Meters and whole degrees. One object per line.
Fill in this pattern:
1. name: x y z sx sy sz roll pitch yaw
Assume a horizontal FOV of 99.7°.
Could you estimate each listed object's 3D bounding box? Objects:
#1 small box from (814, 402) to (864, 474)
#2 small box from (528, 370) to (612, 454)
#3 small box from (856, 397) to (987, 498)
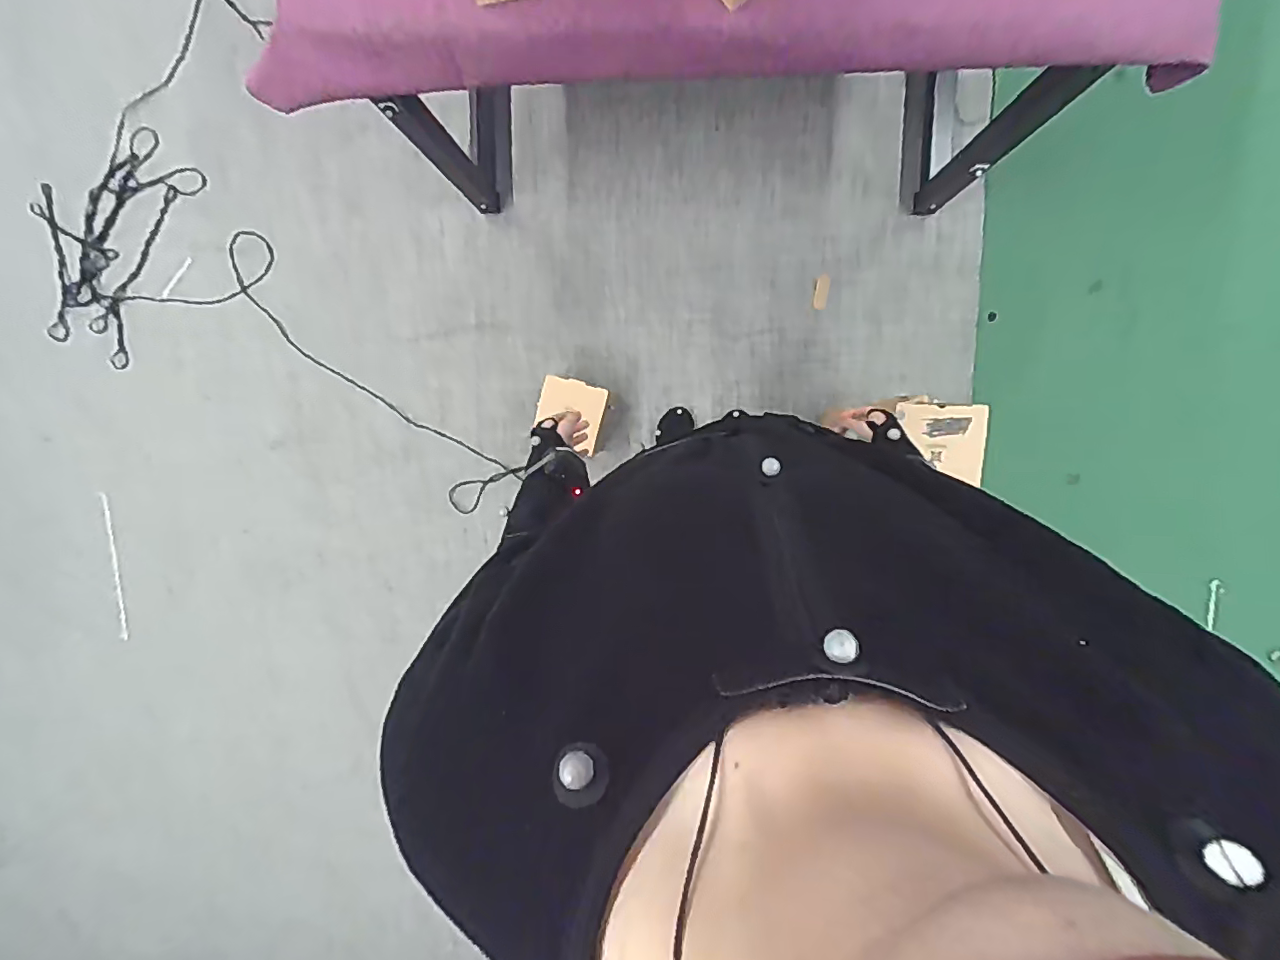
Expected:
1. small box: 0.561 -0.100 1.383 0.179 0.176 0.168 11 98 3
2. small box: -0.177 -0.179 1.426 0.168 0.176 0.179 16 98 2
3. small box: 0.537 -0.068 1.056 0.168 0.176 0.179 3 98 3
